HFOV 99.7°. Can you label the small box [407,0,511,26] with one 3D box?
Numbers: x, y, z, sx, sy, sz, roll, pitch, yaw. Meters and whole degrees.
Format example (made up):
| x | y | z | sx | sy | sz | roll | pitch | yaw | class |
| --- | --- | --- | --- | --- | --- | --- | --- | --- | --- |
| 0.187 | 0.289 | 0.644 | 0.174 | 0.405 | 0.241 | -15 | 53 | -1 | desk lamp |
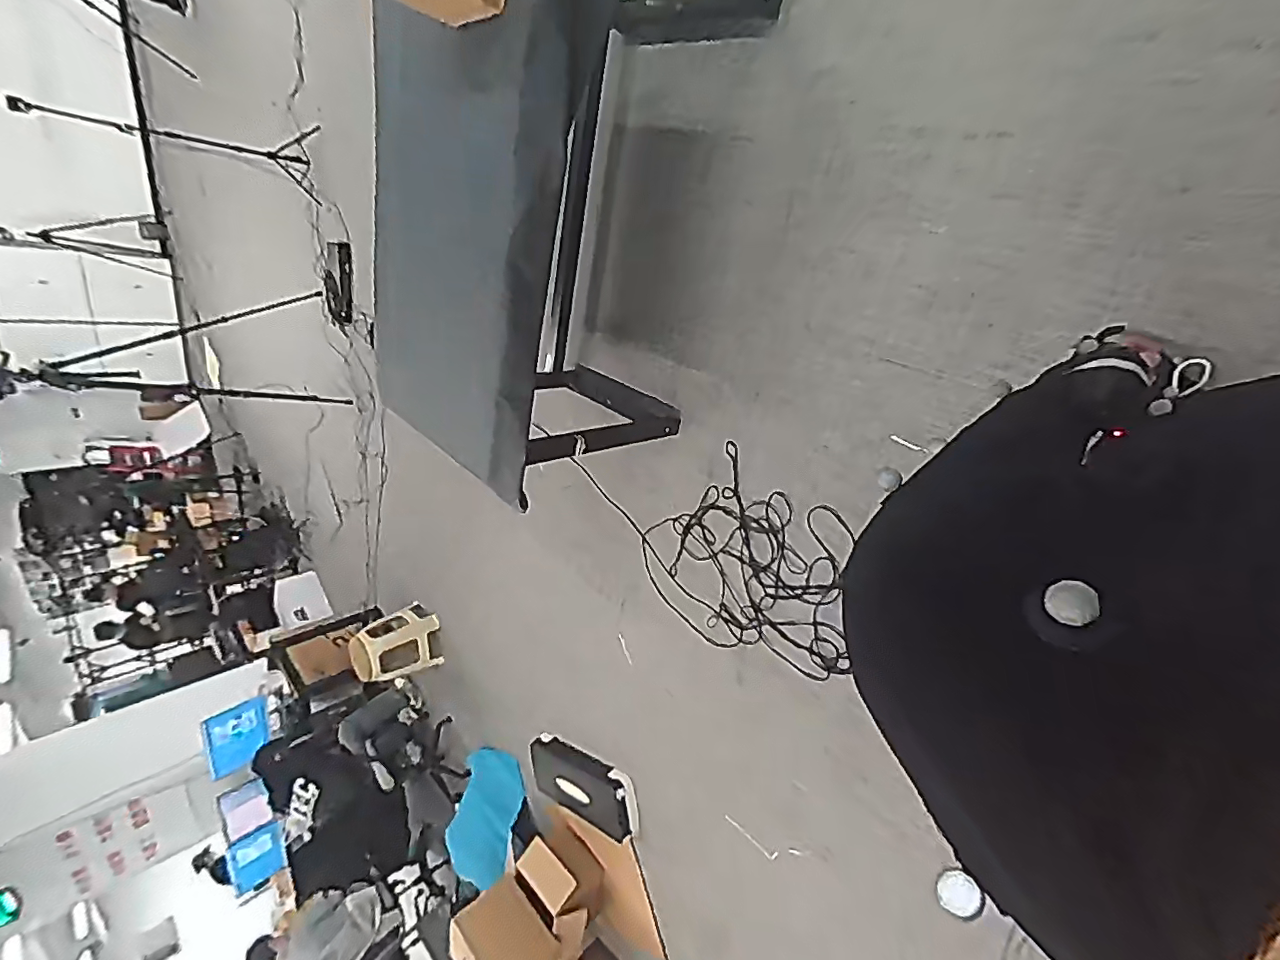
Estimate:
| x | y | z | sx | sy | sz | roll | pitch | yaw | class |
| --- | --- | --- | --- | --- | --- | --- | --- | --- | --- |
| -0.332 | -0.915 | 0.921 | 0.179 | 0.176 | 0.168 | 26 | 118 | 38 | small box |
